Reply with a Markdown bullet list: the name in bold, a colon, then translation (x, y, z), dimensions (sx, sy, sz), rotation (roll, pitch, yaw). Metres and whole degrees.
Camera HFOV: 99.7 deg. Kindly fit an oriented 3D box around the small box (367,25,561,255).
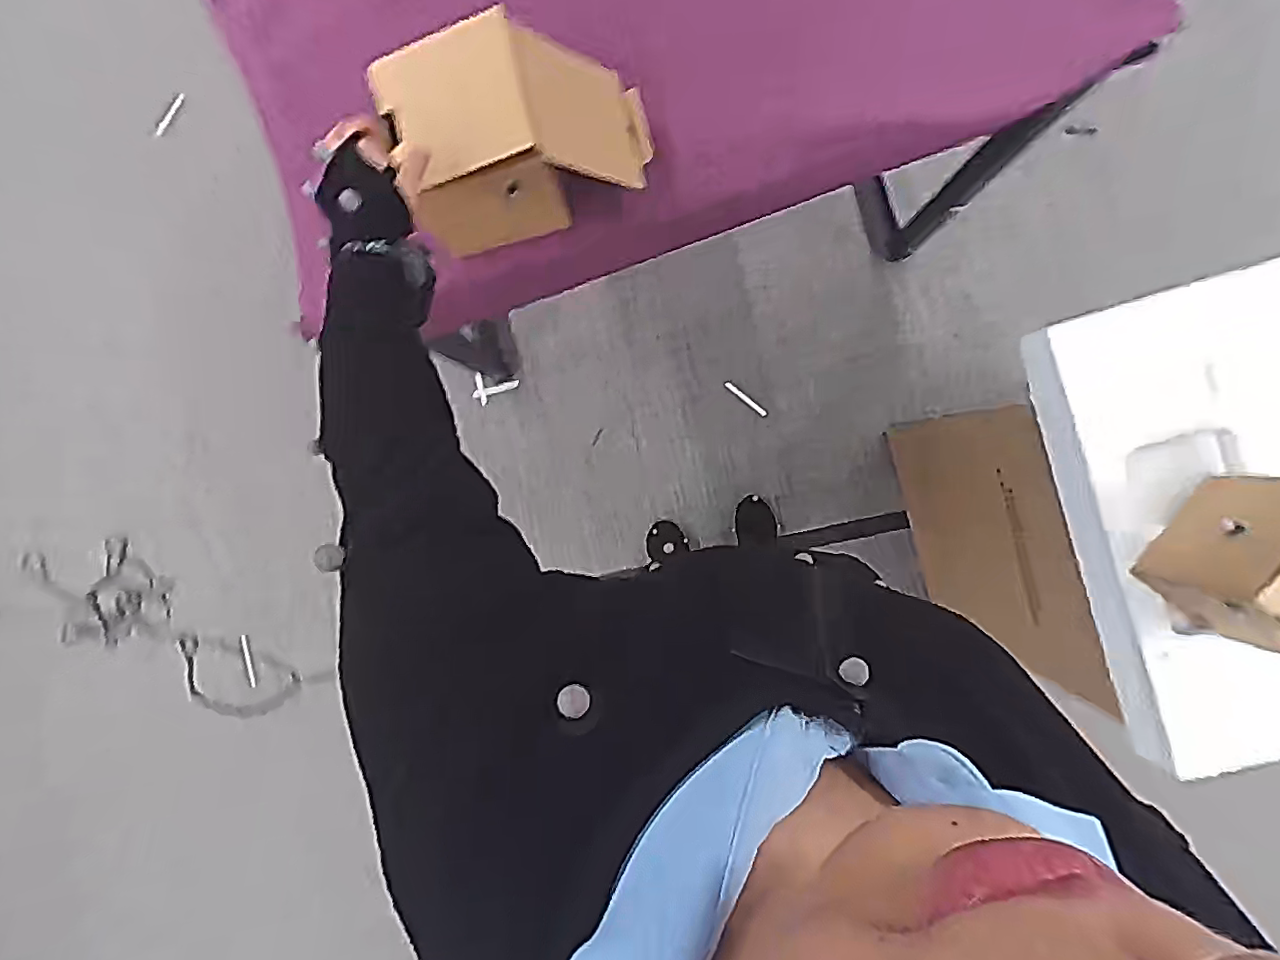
- **small box**: translation (-0.211, -0.422, 0.702), dimensions (0.179, 0.176, 0.168), rotation (-14, 88, 4)
